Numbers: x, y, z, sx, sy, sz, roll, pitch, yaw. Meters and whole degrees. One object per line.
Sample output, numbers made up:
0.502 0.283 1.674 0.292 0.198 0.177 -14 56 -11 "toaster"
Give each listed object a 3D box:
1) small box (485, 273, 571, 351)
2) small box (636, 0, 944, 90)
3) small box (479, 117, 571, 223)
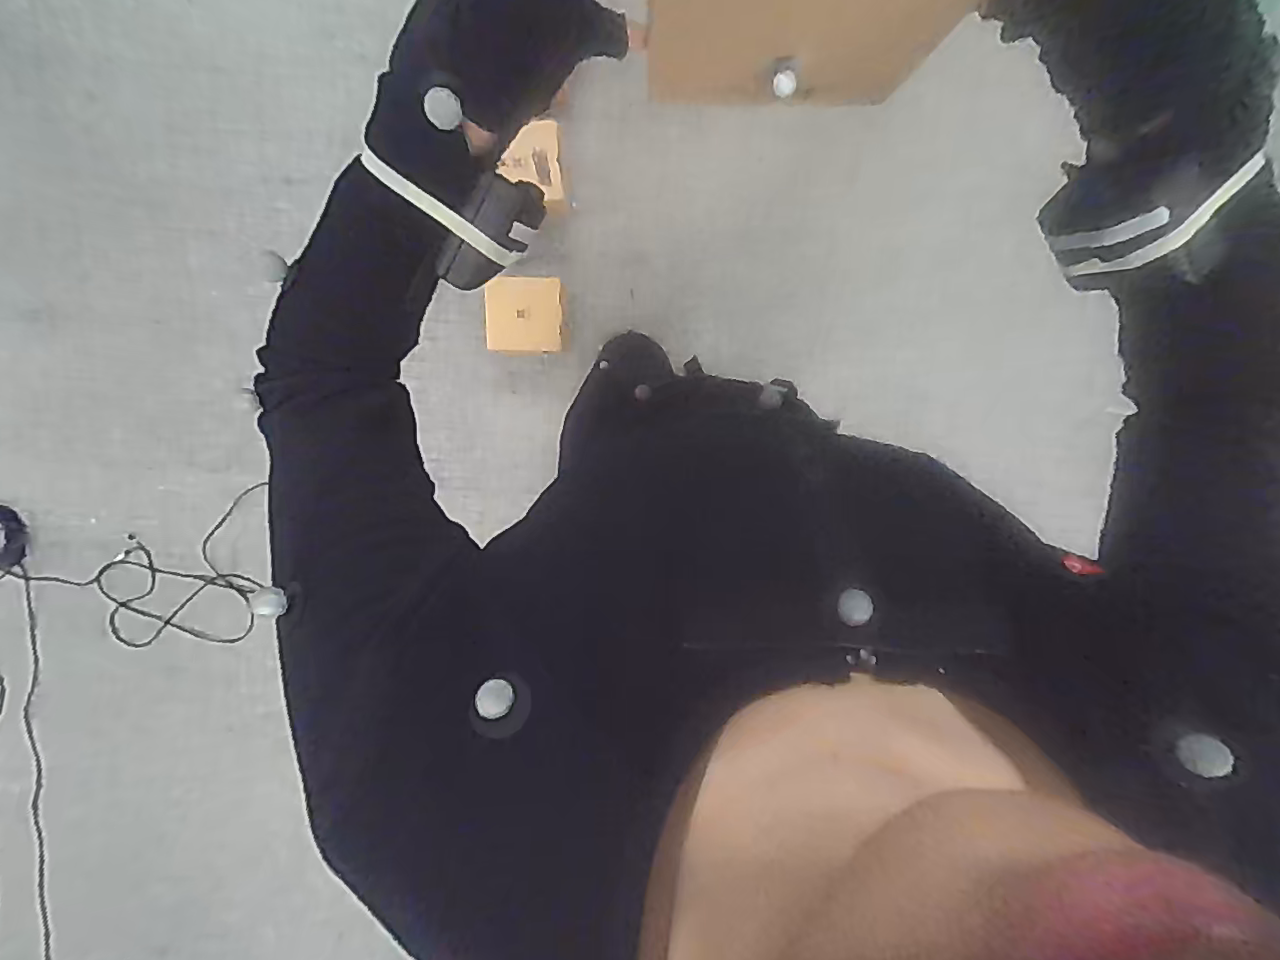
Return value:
-0.266 -0.404 1.321 0.179 0.176 0.168 0 100 0 "small box"
0.081 -0.335 0.270 0.168 0.176 0.179 0 102 1 "small box"
-0.259 -0.717 1.266 0.179 0.176 0.168 -4 99 2 "small box"
